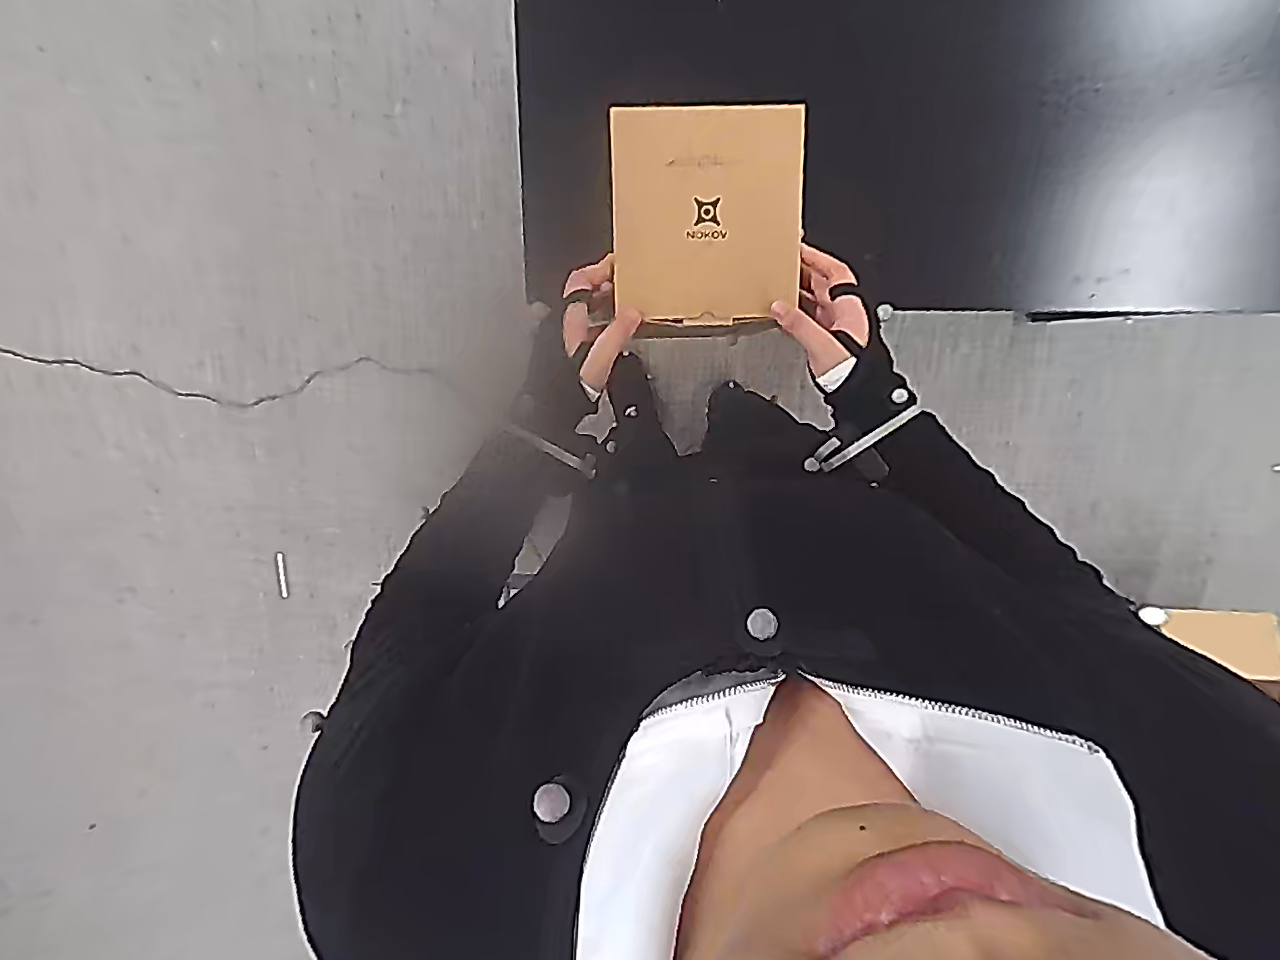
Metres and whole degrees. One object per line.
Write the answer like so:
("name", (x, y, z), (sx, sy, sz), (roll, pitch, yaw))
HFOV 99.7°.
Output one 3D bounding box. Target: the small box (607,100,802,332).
("small box", (0.054, -0.244, 0.544), (0.168, 0.176, 0.179), (-2, 99, -2))
